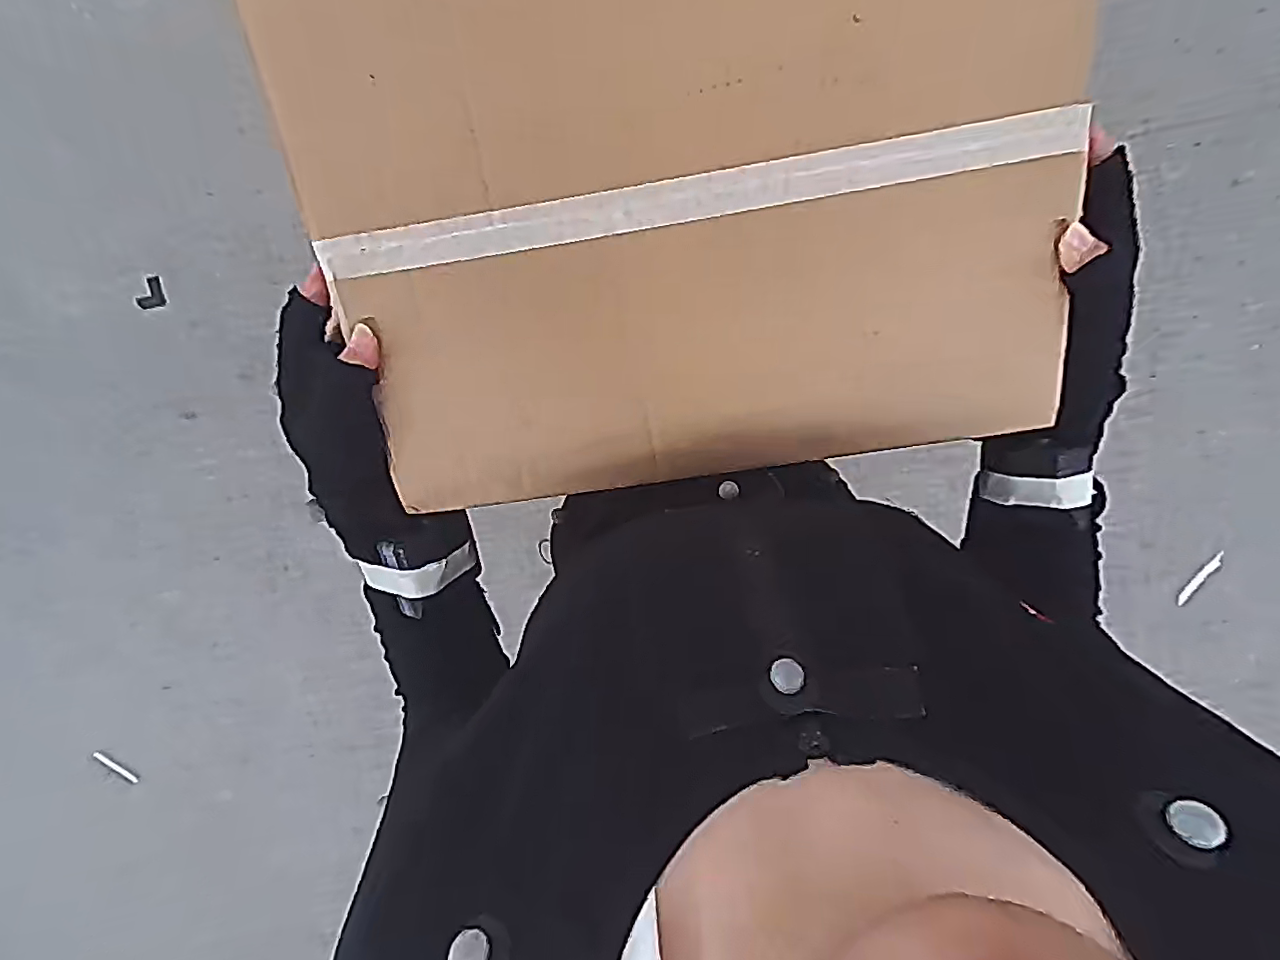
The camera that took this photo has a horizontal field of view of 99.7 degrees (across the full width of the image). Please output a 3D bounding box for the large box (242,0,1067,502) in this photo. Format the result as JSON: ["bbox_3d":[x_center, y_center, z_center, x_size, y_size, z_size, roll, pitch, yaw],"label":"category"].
[{"bbox_3d":[0.022,-0.208,0.434,0.408,0.320,0.320,-8,110,3],"label":"large box"}]
